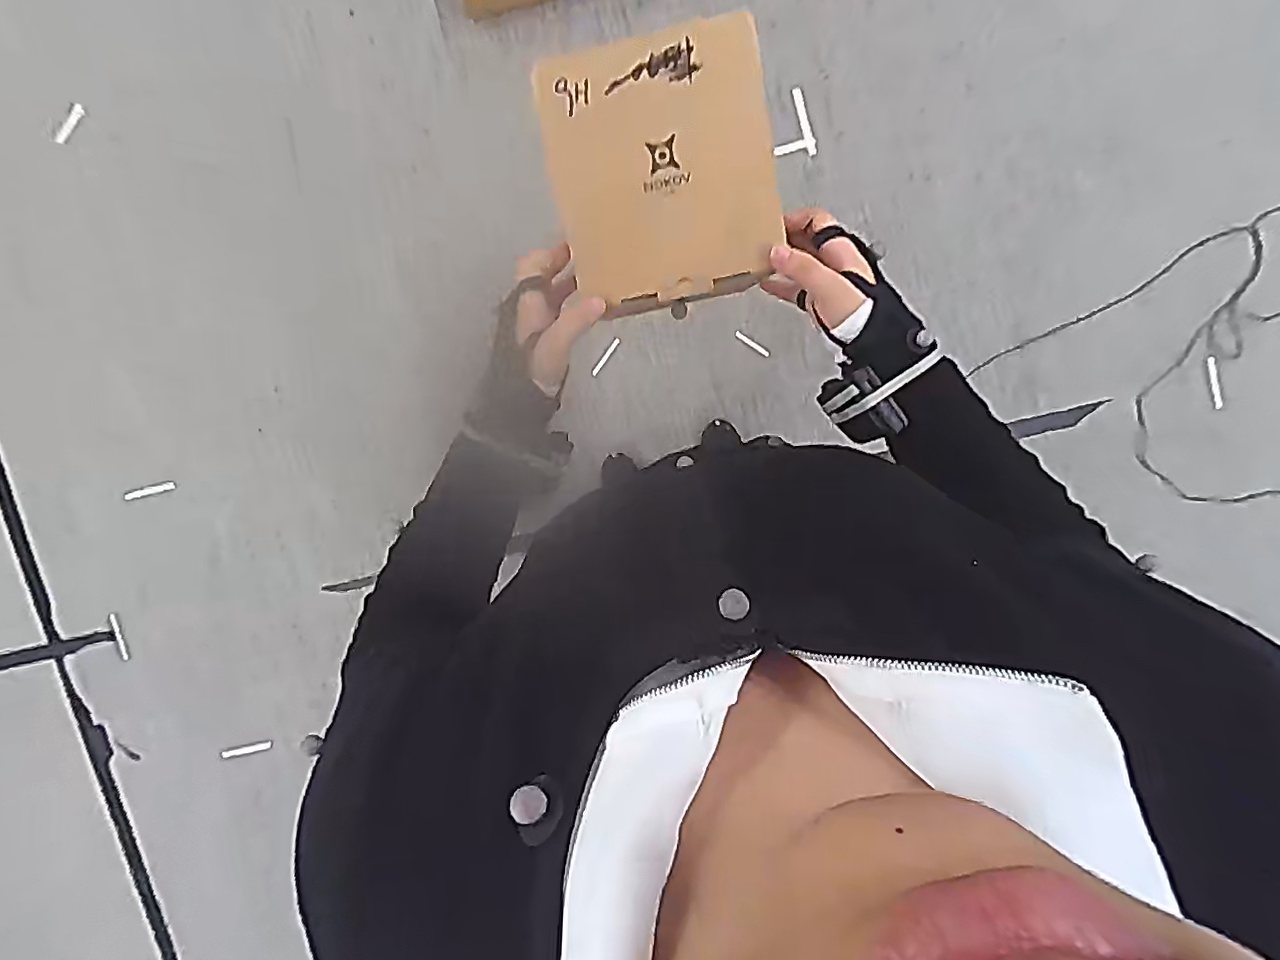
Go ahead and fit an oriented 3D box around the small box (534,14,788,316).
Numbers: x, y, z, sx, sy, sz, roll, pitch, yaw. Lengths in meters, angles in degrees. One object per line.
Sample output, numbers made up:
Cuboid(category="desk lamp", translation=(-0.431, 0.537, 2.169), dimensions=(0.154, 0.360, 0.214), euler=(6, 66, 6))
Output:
Cuboid(category="small box", translation=(0.020, -0.250, 0.480), dimensions=(0.168, 0.176, 0.179), euler=(-12, 105, 3))
